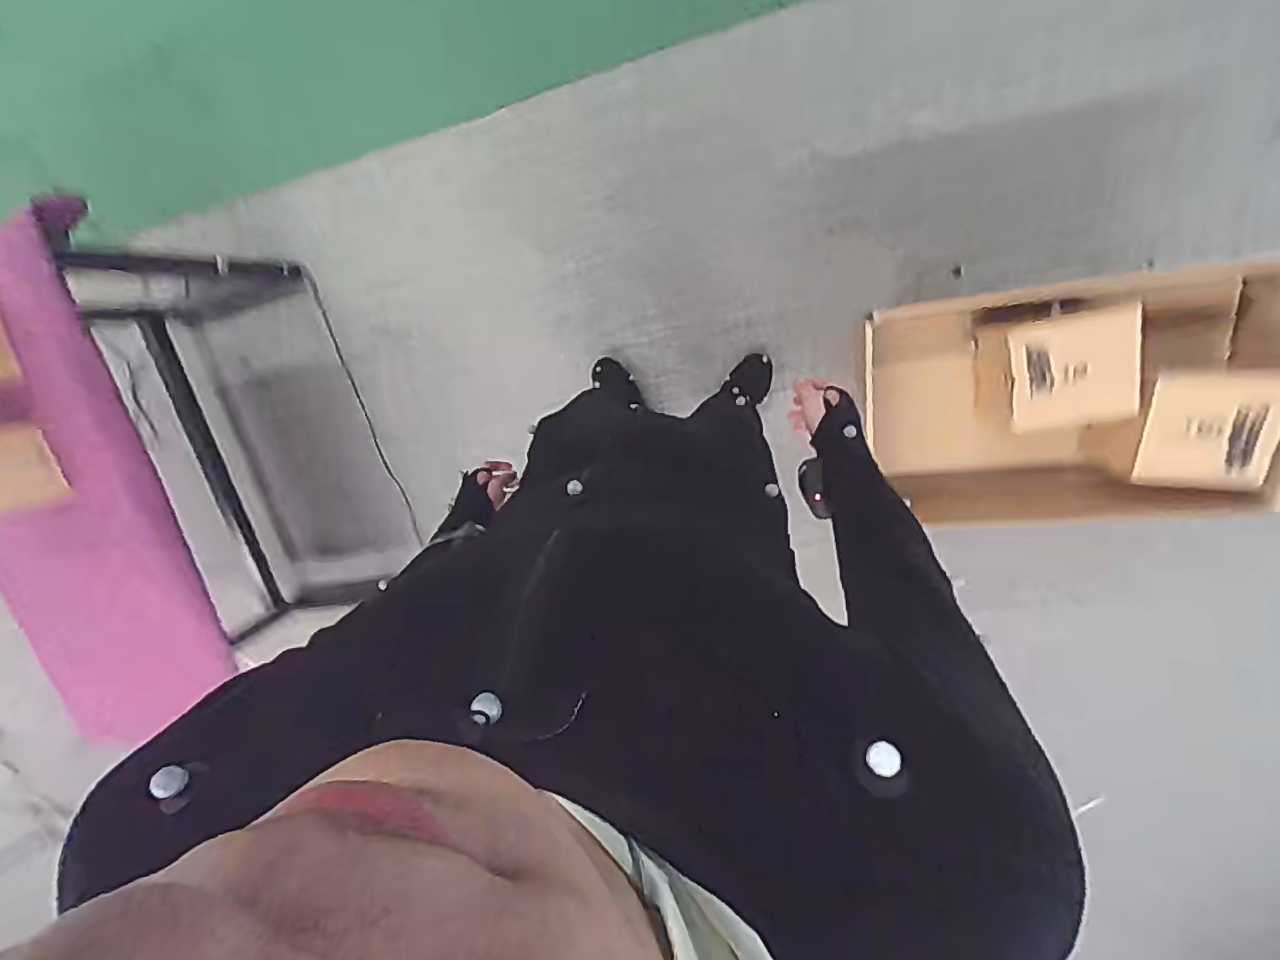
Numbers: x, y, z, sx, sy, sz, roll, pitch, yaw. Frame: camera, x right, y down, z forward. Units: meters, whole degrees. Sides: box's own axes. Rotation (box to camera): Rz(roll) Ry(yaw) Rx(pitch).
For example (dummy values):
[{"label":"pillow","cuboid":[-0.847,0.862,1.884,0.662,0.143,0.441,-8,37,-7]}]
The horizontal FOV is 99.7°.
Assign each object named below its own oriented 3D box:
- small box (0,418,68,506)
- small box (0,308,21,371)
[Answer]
[{"label":"small box","cuboid":[-1.391,-0.026,1.142,0.179,0.176,0.168,-8,106,16]},{"label":"small box","cuboid":[-1.398,-0.298,1.056,0.168,0.176,0.179,3,109,13]}]
